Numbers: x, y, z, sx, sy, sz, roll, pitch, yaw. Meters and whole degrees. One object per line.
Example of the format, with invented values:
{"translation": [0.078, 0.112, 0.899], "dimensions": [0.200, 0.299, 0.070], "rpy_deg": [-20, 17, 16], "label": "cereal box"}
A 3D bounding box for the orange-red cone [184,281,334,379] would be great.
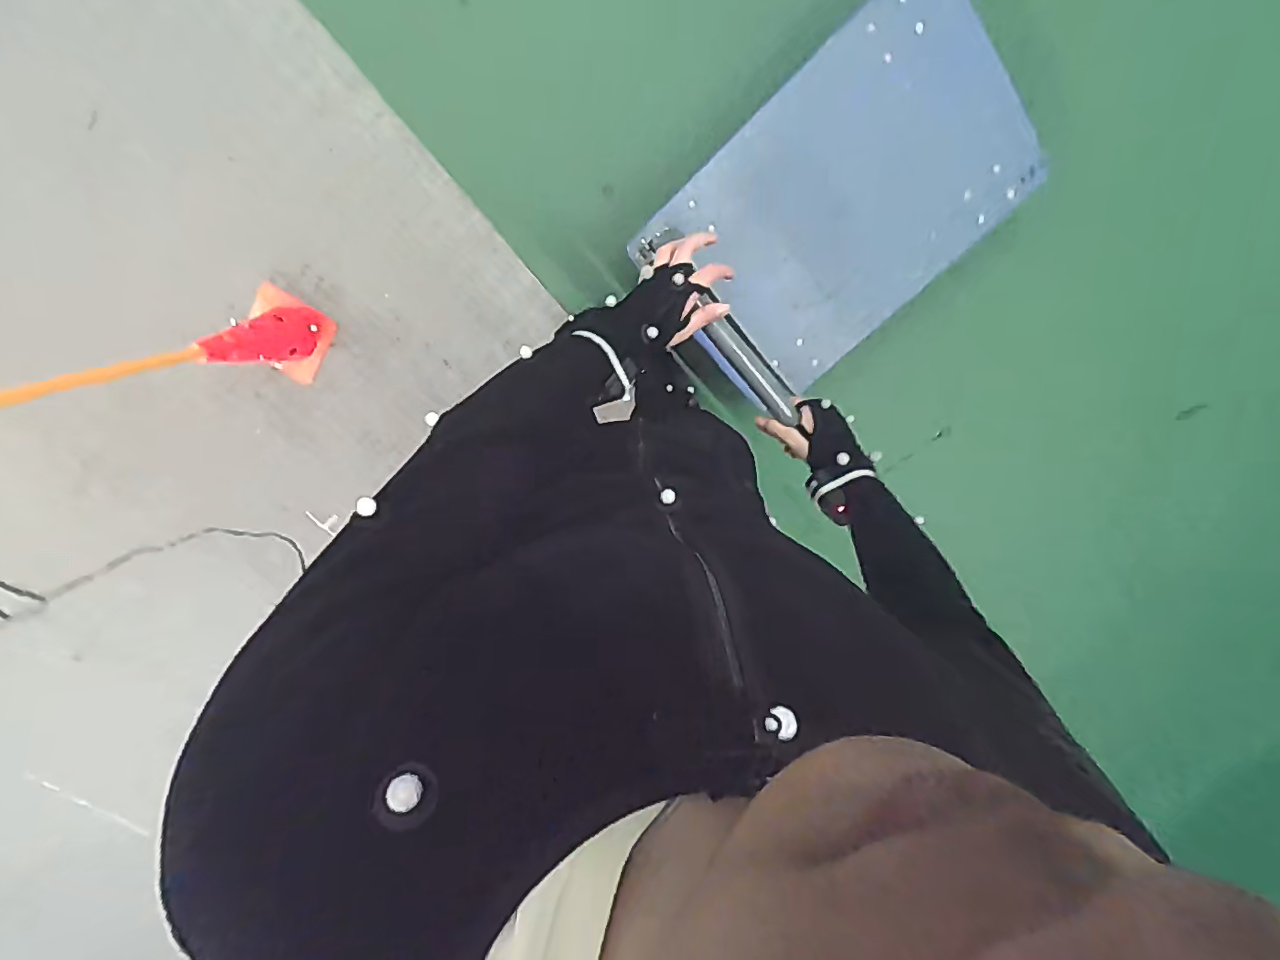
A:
{"translation": [-0.927, -0.335, 1.271], "dimensions": [0.199, 0.360, 0.198], "rpy_deg": [33, 105, -14], "label": "orange-red cone"}
